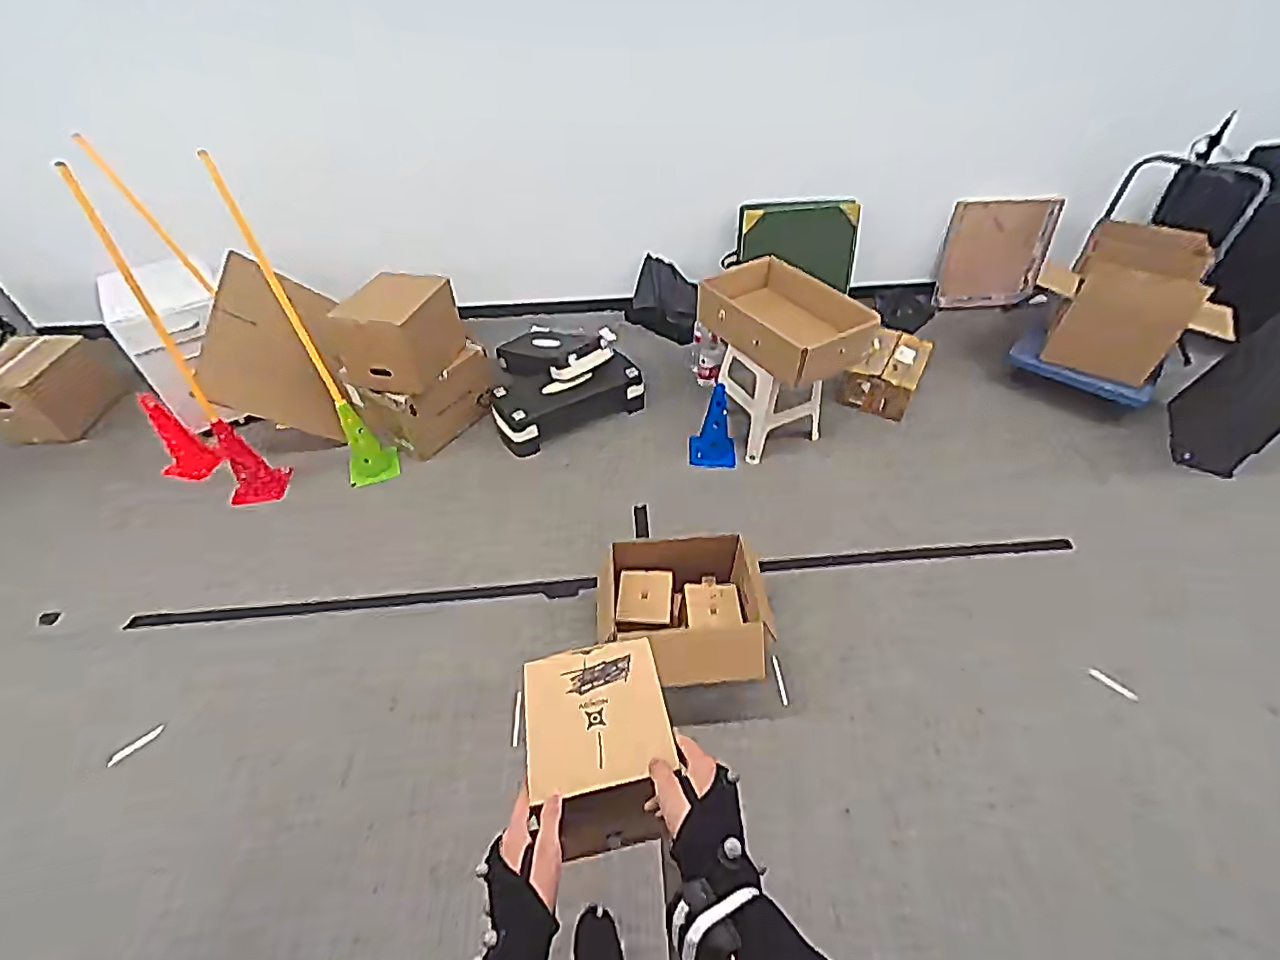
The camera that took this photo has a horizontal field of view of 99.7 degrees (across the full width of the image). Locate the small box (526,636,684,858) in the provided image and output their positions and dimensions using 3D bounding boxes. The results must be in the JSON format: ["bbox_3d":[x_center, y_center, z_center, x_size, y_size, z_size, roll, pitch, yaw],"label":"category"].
[{"bbox_3d":[-0.045,0.330,0.677,0.168,0.176,0.179,-10,37,-5],"label":"small box"}]
